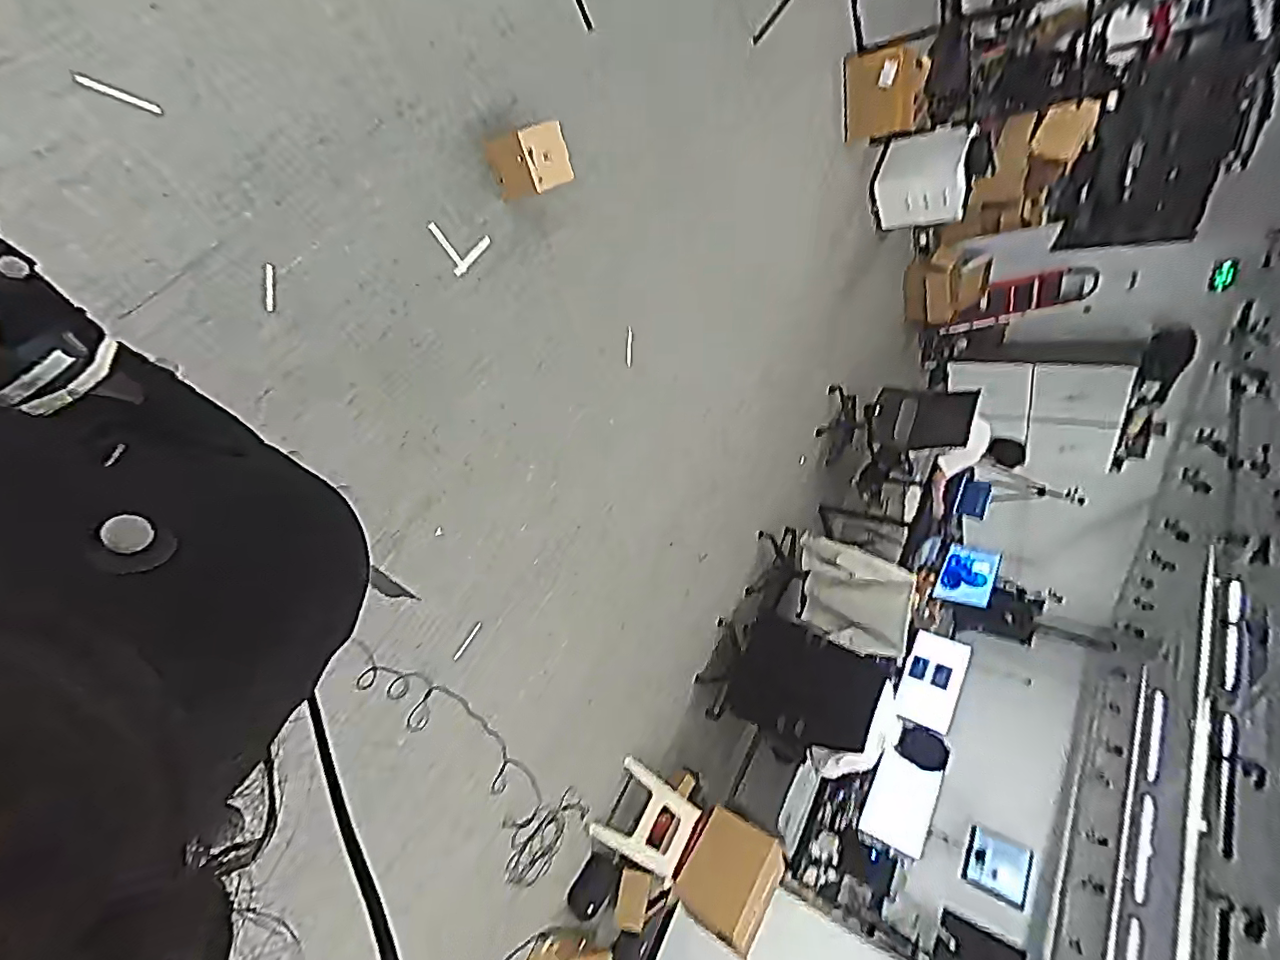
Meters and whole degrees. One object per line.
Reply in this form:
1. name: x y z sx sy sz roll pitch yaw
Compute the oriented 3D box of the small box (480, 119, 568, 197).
1. small box: -0.361 -1.000 1.685 0.179 0.176 0.168 -45 132 -36
